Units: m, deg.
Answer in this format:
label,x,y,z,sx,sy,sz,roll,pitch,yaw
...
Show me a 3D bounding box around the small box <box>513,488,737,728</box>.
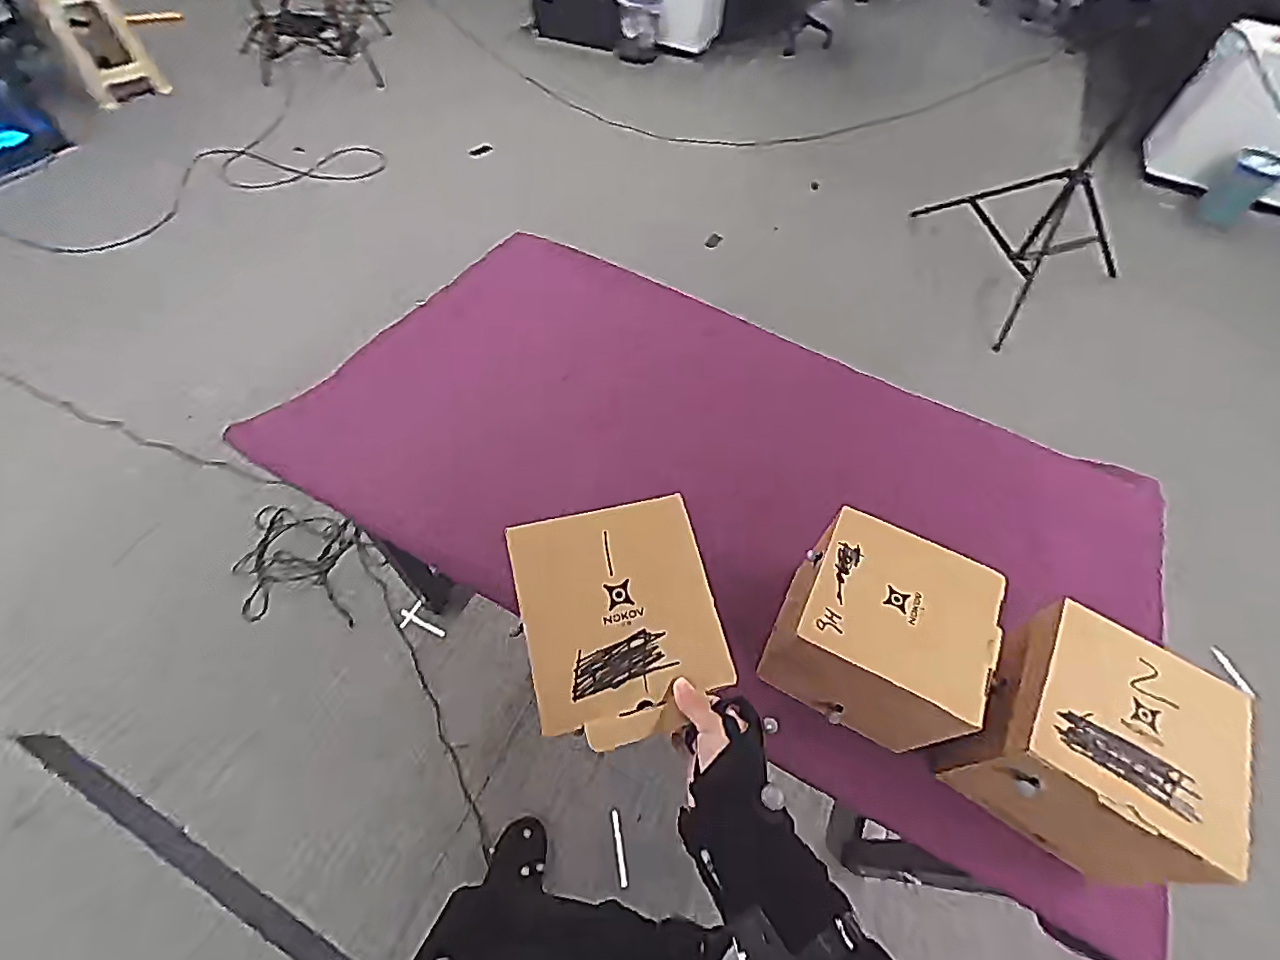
label,x,y,z,sx,sy,sz,roll,pitch,yaw
small box,-0.026,0.128,0.536,0.168,0.176,0.179,-10,71,-14
